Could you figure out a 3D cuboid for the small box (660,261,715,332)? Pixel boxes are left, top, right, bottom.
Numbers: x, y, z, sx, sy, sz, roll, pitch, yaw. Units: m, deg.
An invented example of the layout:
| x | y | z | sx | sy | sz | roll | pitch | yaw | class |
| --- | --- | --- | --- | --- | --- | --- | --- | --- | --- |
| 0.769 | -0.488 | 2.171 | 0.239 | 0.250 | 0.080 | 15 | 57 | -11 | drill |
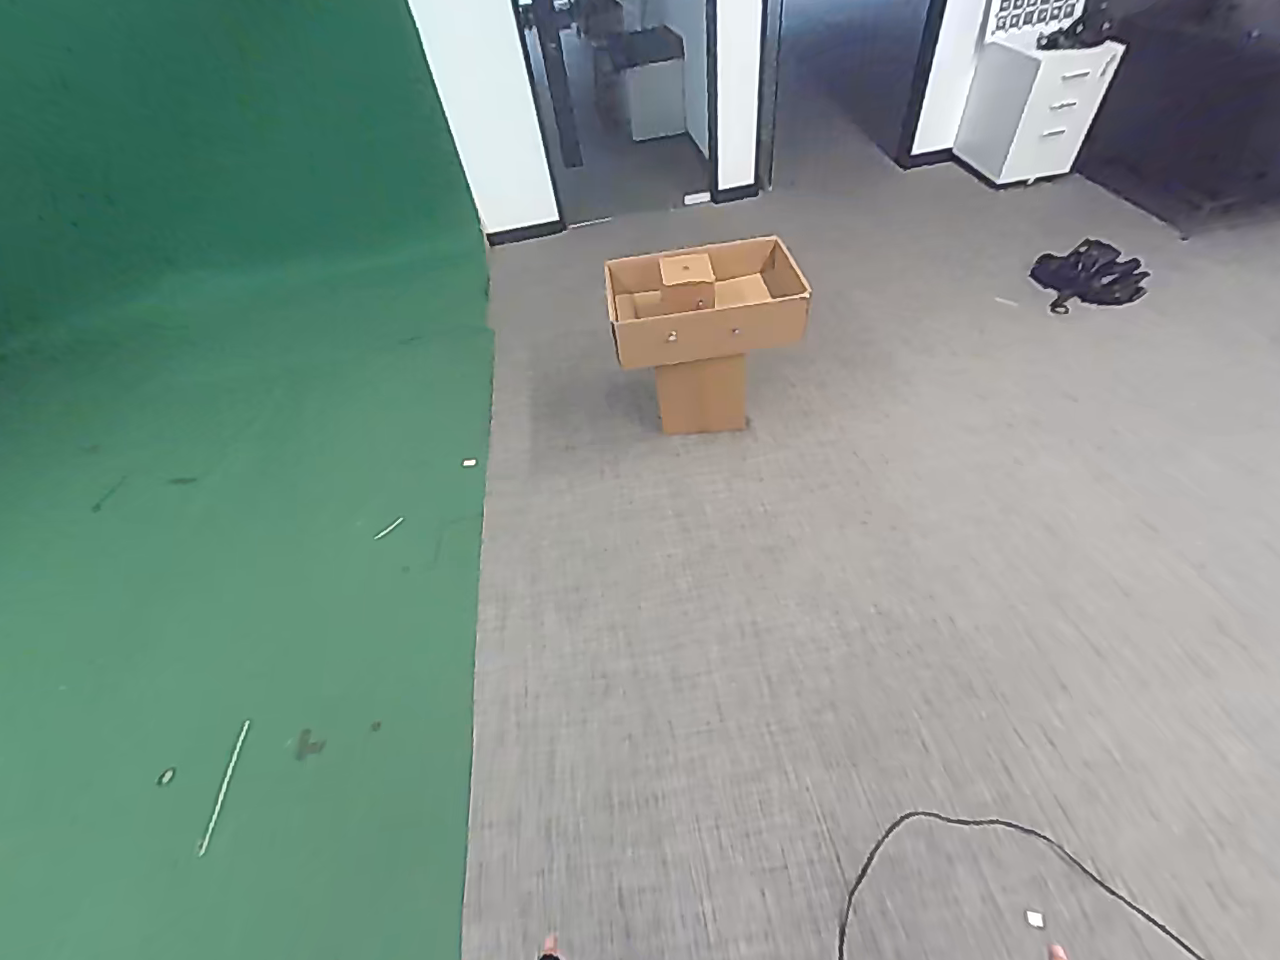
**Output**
| x | y | z | sx | sy | sz | roll | pitch | yaw | class |
| --- | --- | --- | --- | --- | --- | --- | --- | --- | --- |
| 0.160 | -0.609 | 1.809 | 0.168 | 0.176 | 0.179 | -5 | 46 | 1 | small box |
